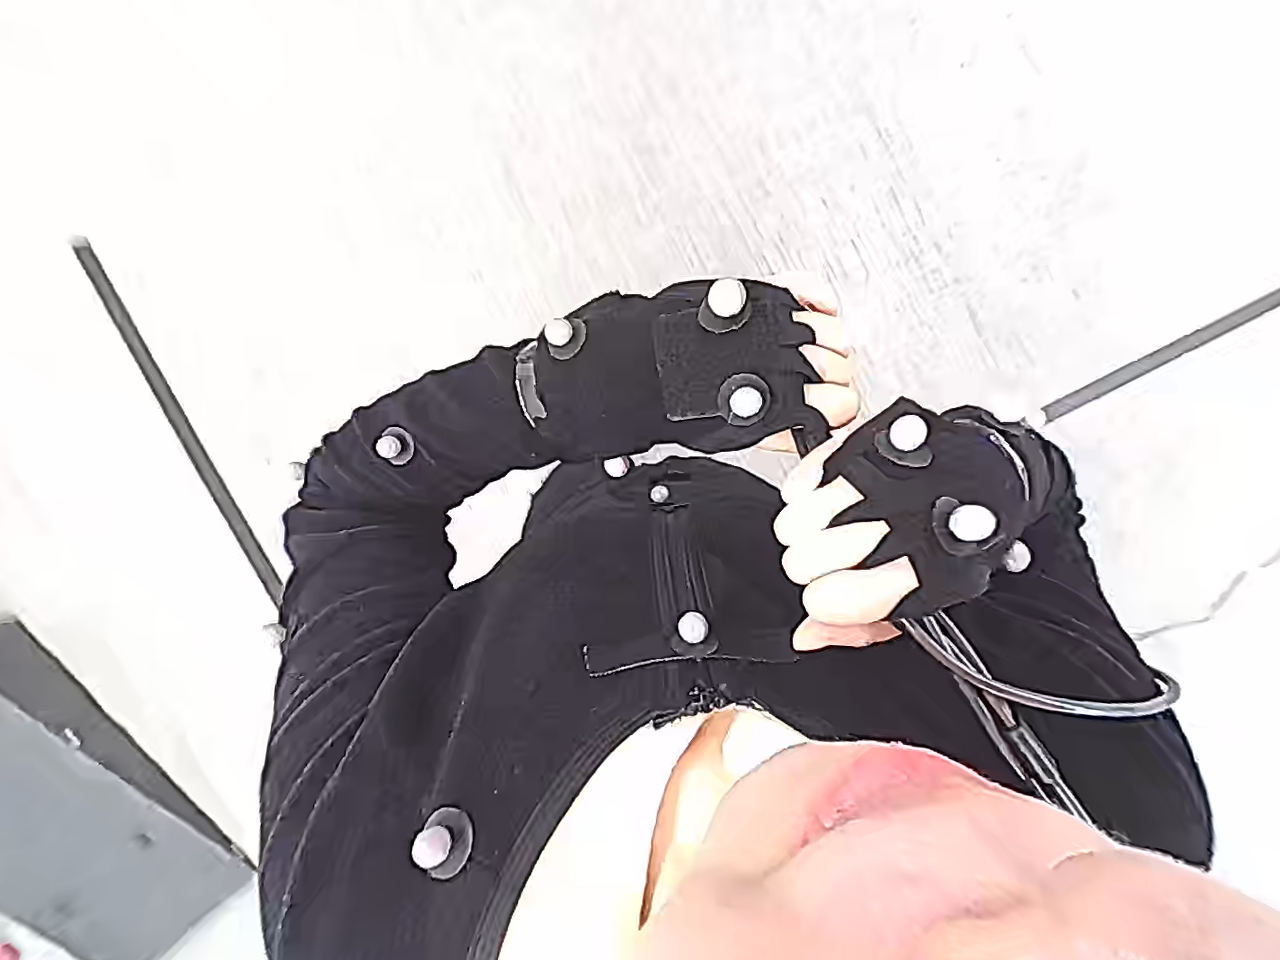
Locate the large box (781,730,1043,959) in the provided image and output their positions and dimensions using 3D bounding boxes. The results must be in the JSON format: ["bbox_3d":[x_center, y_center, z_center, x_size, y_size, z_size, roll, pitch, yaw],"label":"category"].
[{"bbox_3d":[0.572,0.862,1.210,0.320,0.320,0.408,26,92,-2],"label":"large box"}]
